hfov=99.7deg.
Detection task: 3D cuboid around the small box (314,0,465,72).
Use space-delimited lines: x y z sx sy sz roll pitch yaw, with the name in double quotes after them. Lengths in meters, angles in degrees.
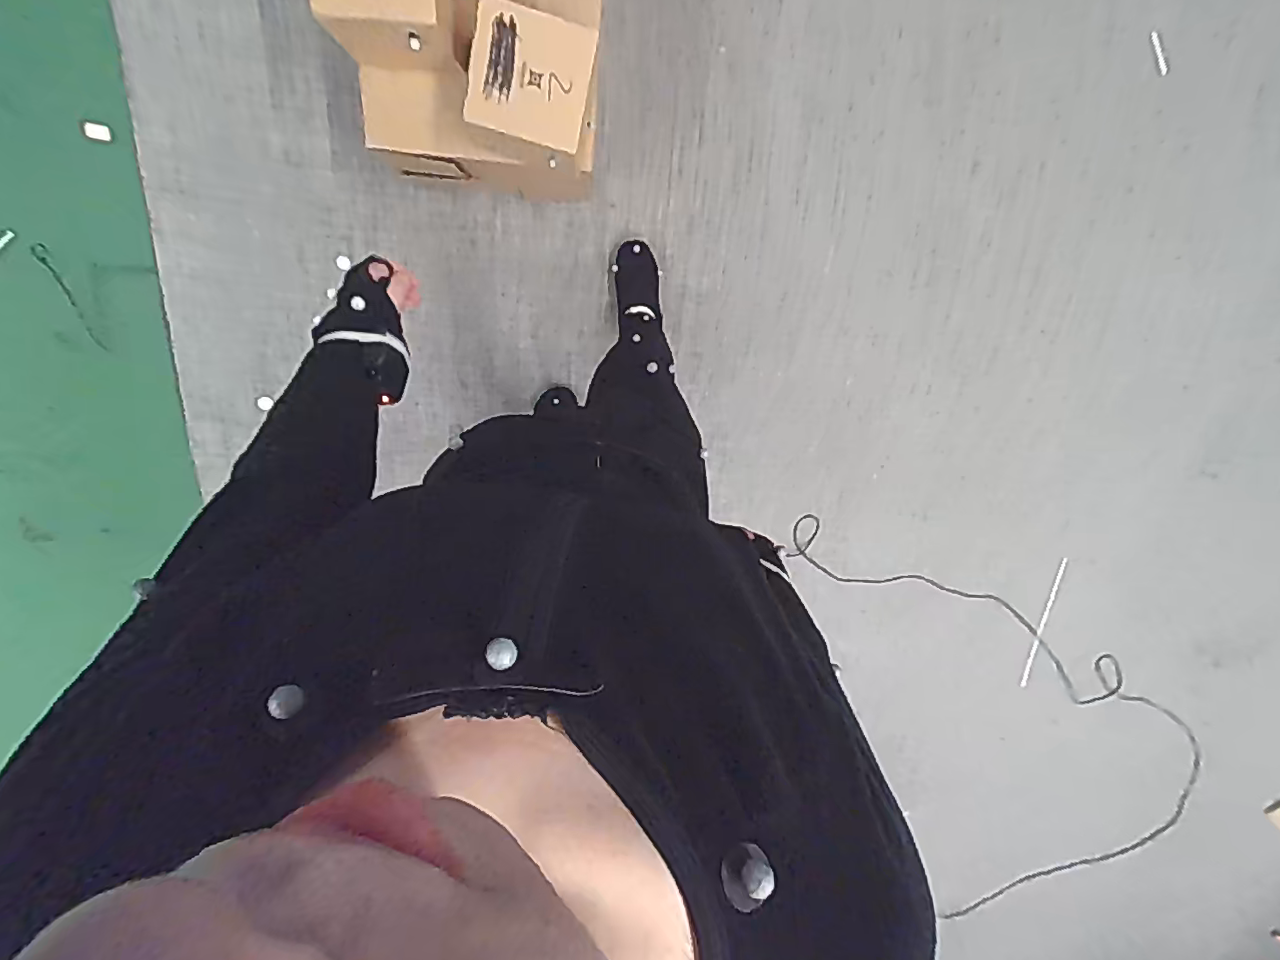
-0.370 -0.751 0.819 0.179 0.176 0.168 2 107 -4 "small box"
